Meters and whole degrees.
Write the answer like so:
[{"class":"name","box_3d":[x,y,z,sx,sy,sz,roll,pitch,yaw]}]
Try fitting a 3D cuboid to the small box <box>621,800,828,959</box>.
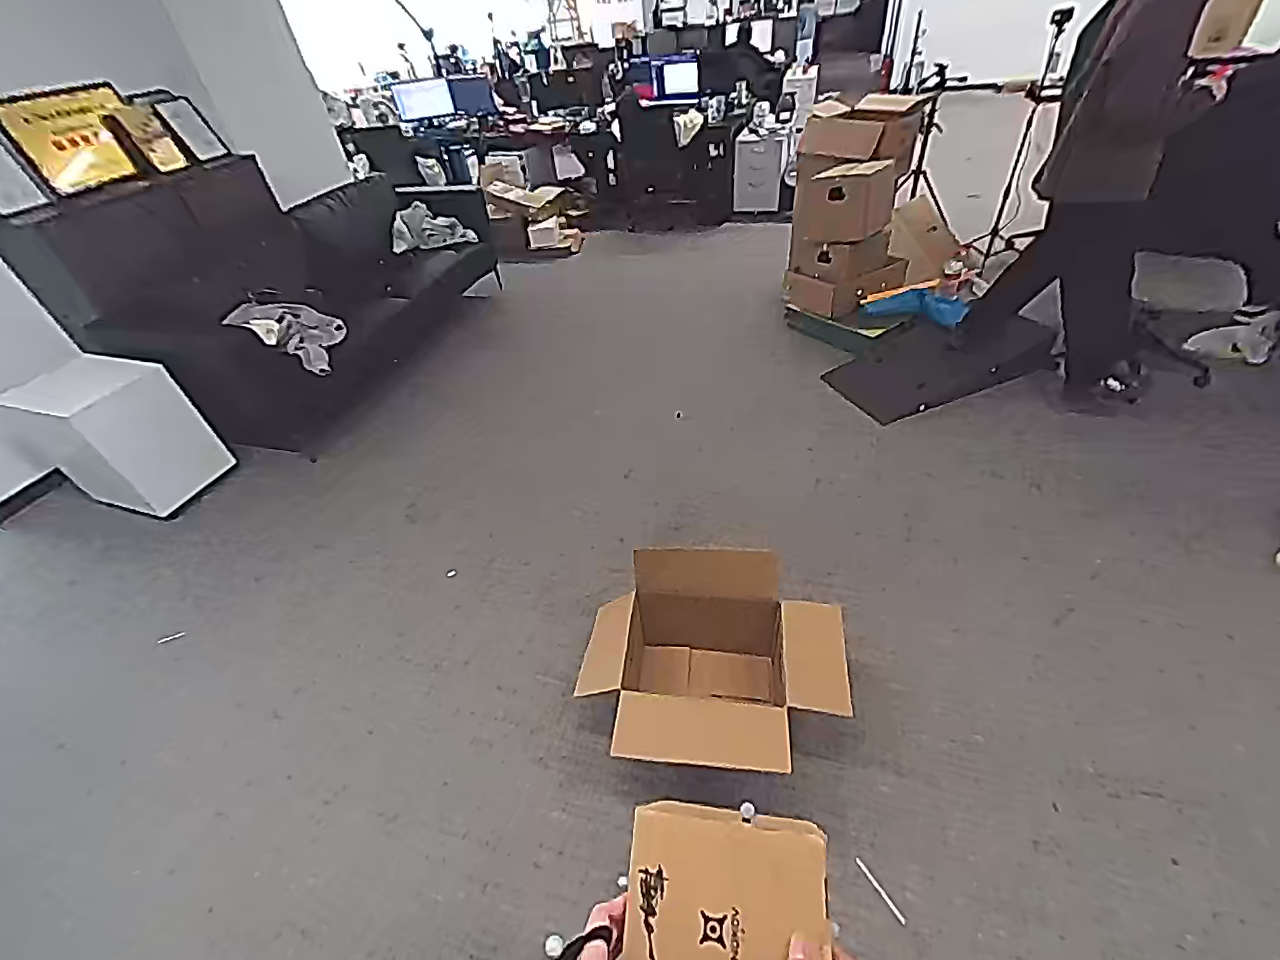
[{"class":"small box","box_3d":[0.087,0.424,0.537,0.179,0.176,0.168,0,61,14]}]
